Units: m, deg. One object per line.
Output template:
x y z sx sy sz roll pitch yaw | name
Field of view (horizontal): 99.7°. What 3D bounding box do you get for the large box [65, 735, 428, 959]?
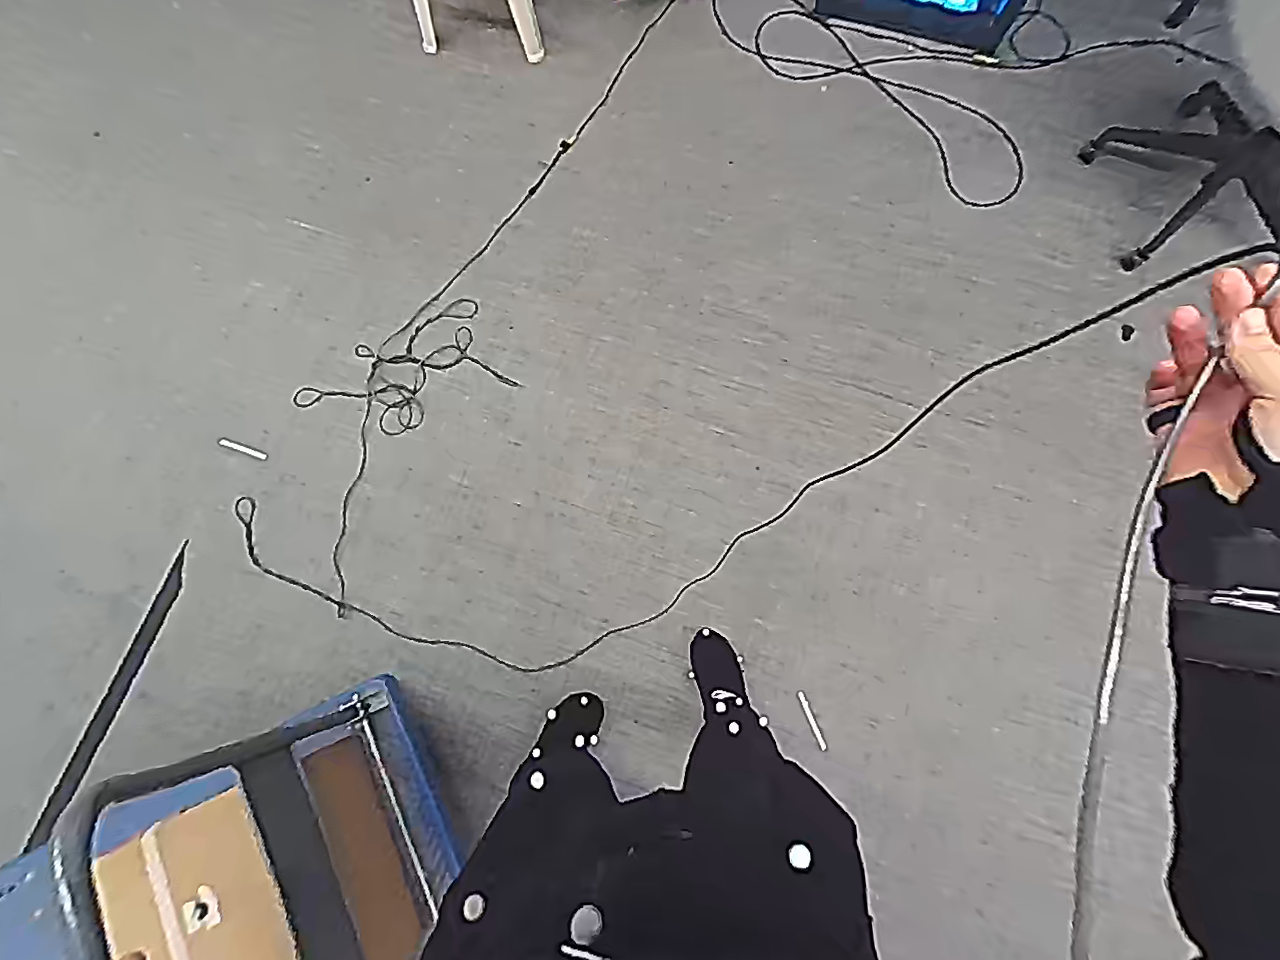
-0.628 0.727 0.920 0.320 0.320 0.408 -26 77 -6 | large box
